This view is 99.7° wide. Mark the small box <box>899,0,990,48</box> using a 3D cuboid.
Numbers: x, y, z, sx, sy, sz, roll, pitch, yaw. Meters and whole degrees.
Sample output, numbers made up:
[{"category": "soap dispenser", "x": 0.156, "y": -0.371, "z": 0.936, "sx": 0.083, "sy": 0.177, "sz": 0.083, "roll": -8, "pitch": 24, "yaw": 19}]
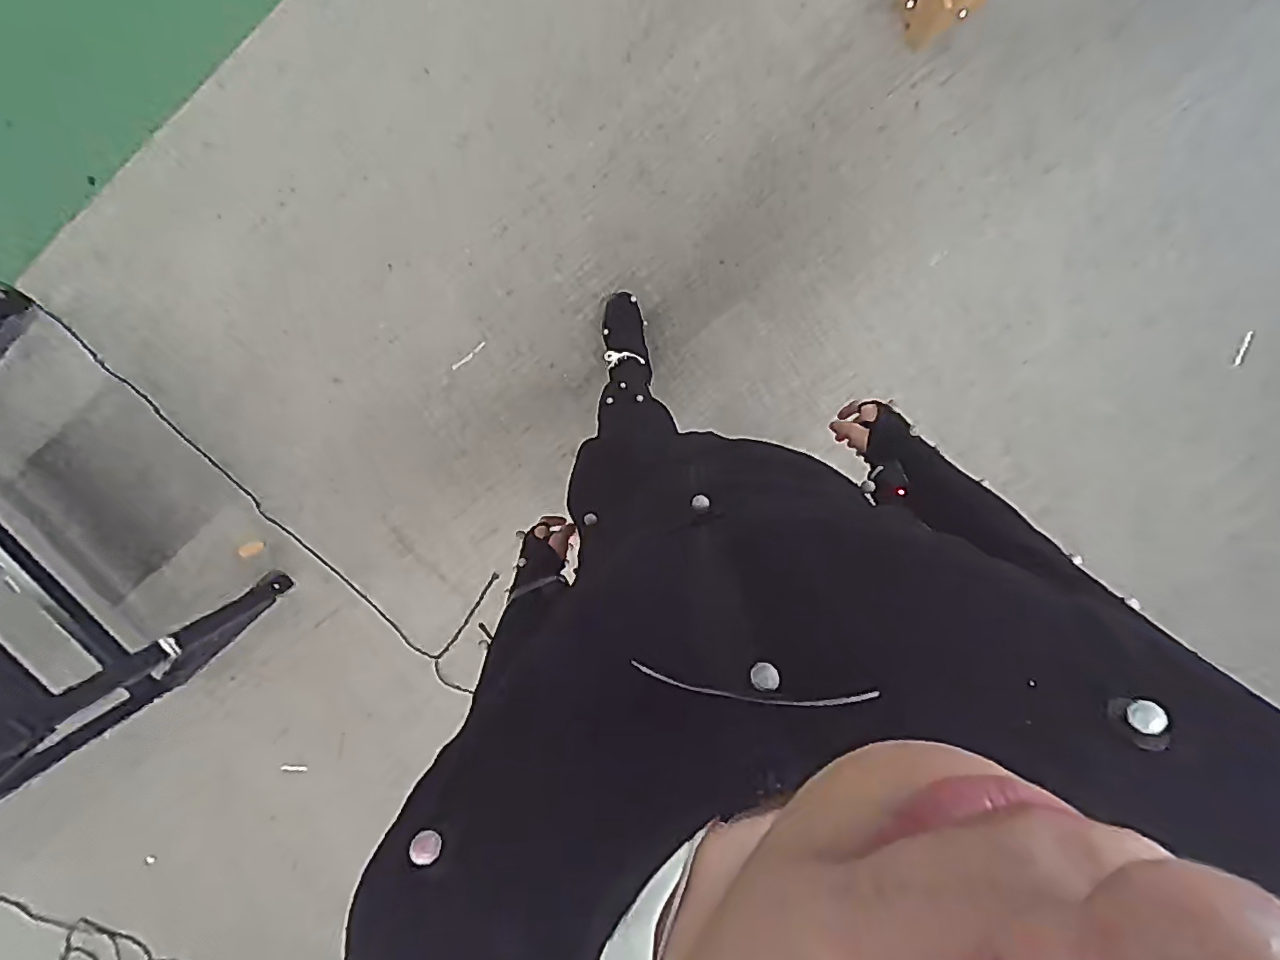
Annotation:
[{"category": "small box", "x": 0.734, "y": -1.175, "z": 1.266, "sx": 0.179, "sy": 0.176, "sz": 0.168, "roll": -29, "pitch": 99, "yaw": 9}]
